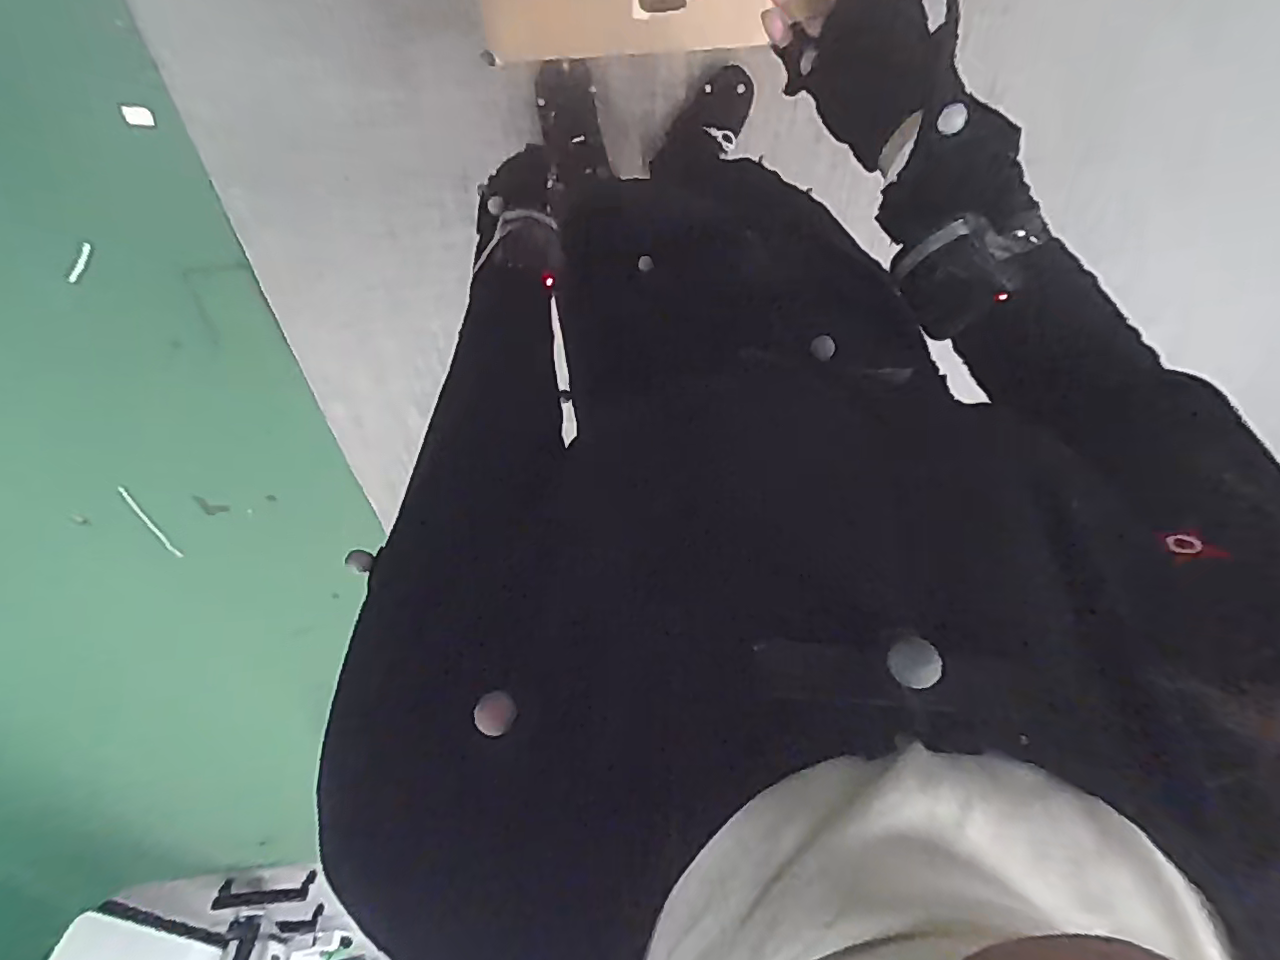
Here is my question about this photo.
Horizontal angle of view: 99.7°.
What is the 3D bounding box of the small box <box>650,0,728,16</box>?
[{"bbox_3d":[0.067,-0.432,0.340,0.168,0.176,0.179,-19,131,4],"label":"small box"}]
